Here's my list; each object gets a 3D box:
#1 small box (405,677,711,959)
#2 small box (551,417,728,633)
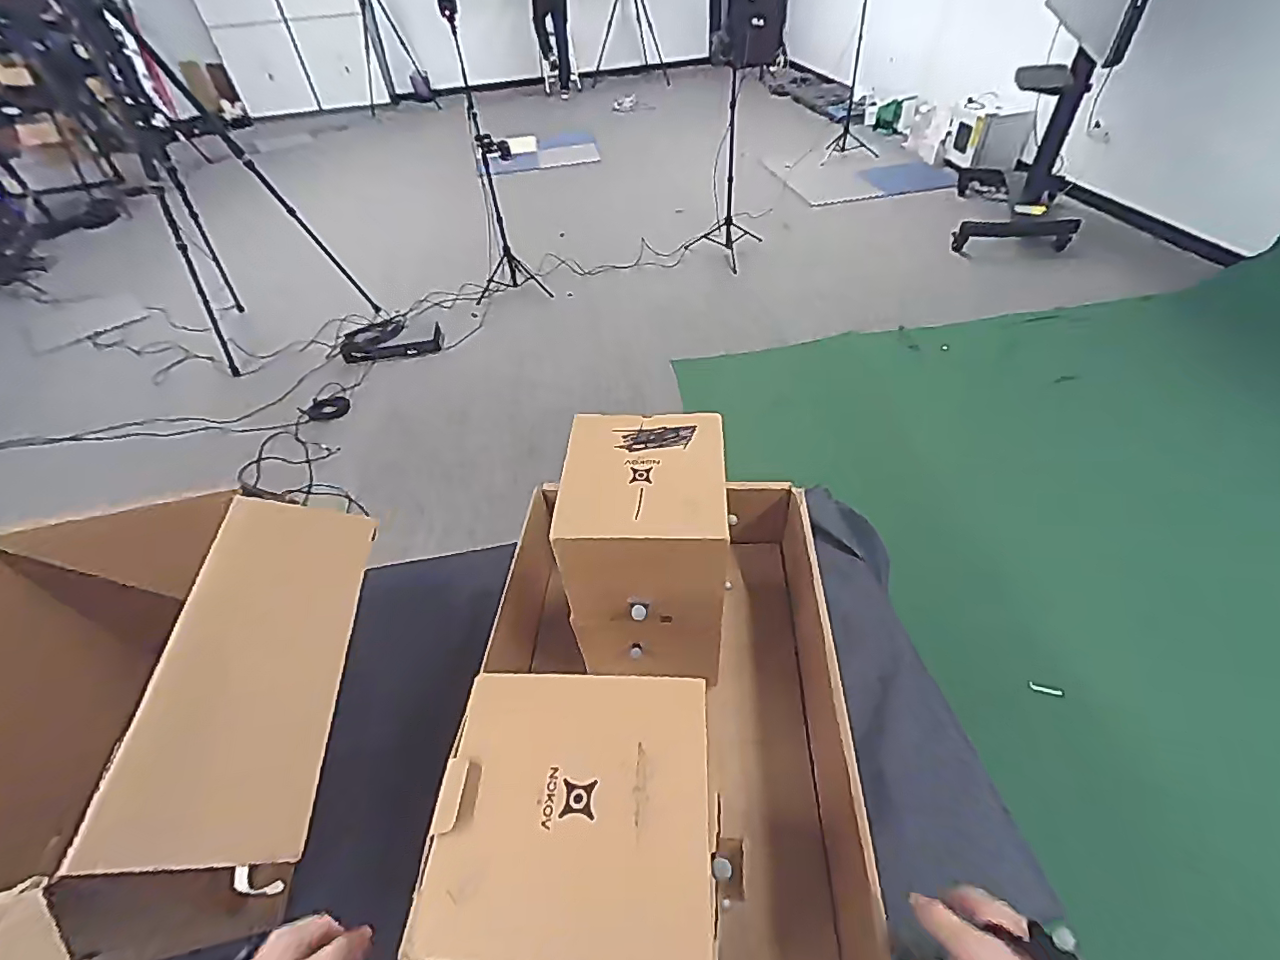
[{"bbox_3d":[-0.038,0.264,0.408,0.179,0.176,0.168,0,47,4],"label":"small box"},{"bbox_3d":[0.009,0.049,0.604,0.168,0.176,0.179,0,48,5],"label":"small box"}]
